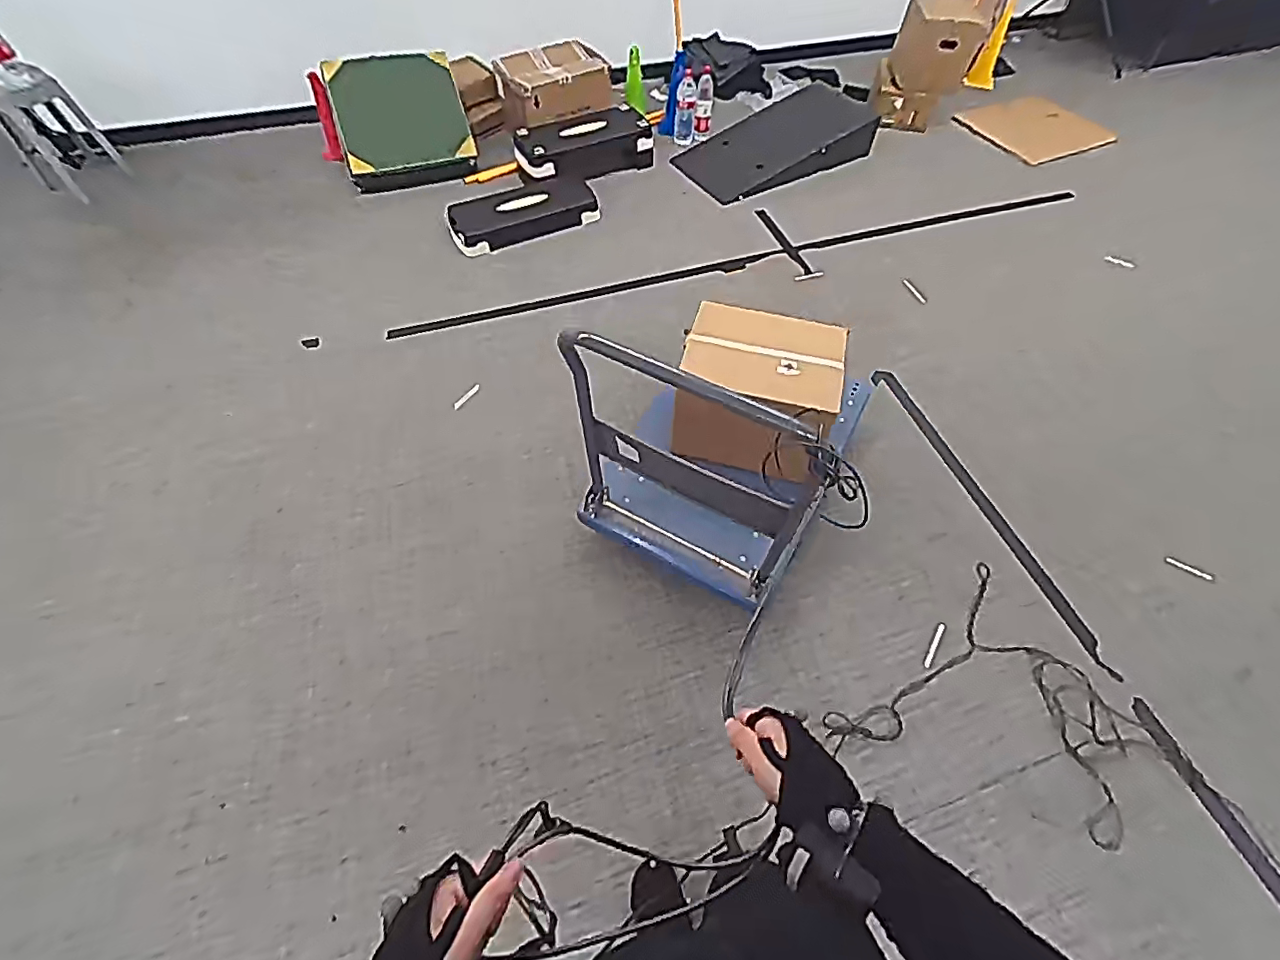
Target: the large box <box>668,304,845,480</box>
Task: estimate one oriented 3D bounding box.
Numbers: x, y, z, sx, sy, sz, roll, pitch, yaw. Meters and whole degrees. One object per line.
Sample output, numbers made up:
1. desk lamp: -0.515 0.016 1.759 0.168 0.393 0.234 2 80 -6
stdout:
1. large box: 0.310 -0.239 1.504 0.408 0.320 0.320 14 59 8
